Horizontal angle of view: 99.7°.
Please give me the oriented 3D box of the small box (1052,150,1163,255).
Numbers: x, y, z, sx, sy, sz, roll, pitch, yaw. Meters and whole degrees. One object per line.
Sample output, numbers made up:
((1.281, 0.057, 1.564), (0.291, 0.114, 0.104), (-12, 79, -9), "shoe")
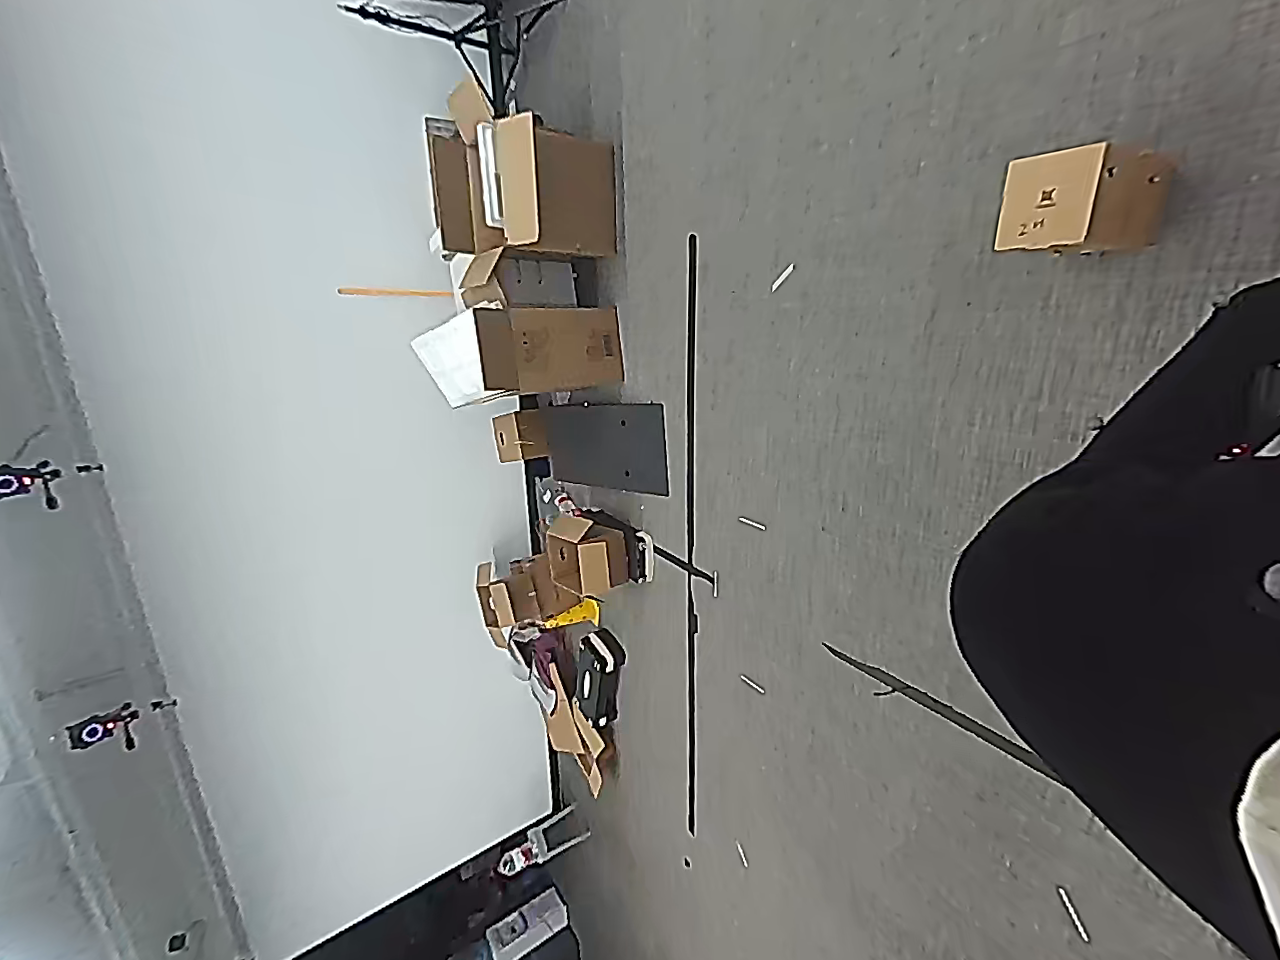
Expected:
((1.004, -0.600, 1.190), (0.168, 0.176, 0.179), (26, 120, 52), "small box")

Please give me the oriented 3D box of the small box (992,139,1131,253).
((0.864, -0.570, 1.109), (0.168, 0.176, 0.179), (25, 121, 53), "small box")
